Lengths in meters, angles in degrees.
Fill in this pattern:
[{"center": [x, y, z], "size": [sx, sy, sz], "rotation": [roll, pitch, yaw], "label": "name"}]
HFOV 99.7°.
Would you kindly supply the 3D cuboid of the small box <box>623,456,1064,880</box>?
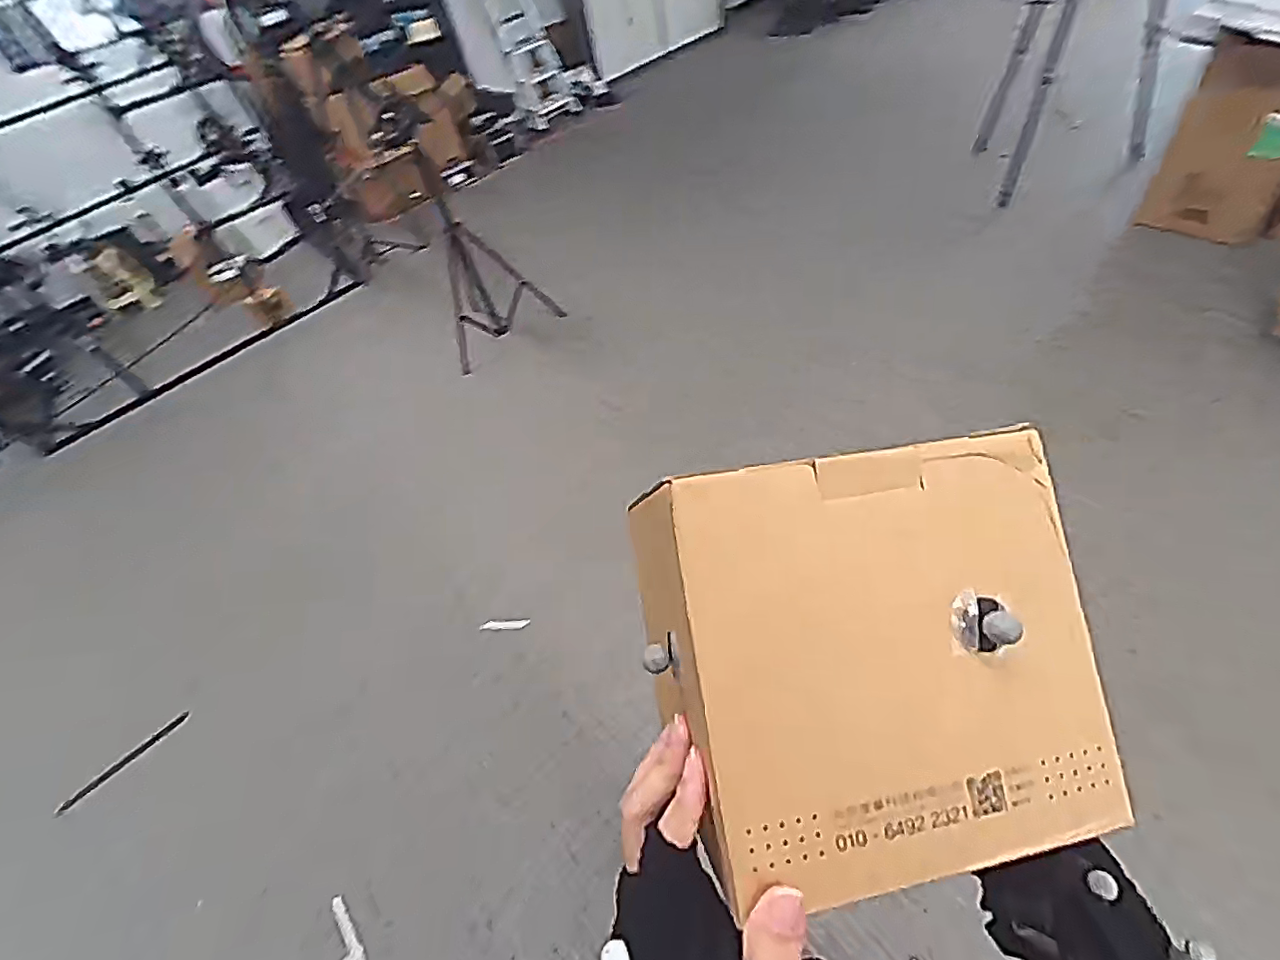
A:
[{"center": [0.090, 0.093, 0.313], "size": [0.168, 0.179, 0.176], "rotation": [-9, 83, -8], "label": "small box"}]
